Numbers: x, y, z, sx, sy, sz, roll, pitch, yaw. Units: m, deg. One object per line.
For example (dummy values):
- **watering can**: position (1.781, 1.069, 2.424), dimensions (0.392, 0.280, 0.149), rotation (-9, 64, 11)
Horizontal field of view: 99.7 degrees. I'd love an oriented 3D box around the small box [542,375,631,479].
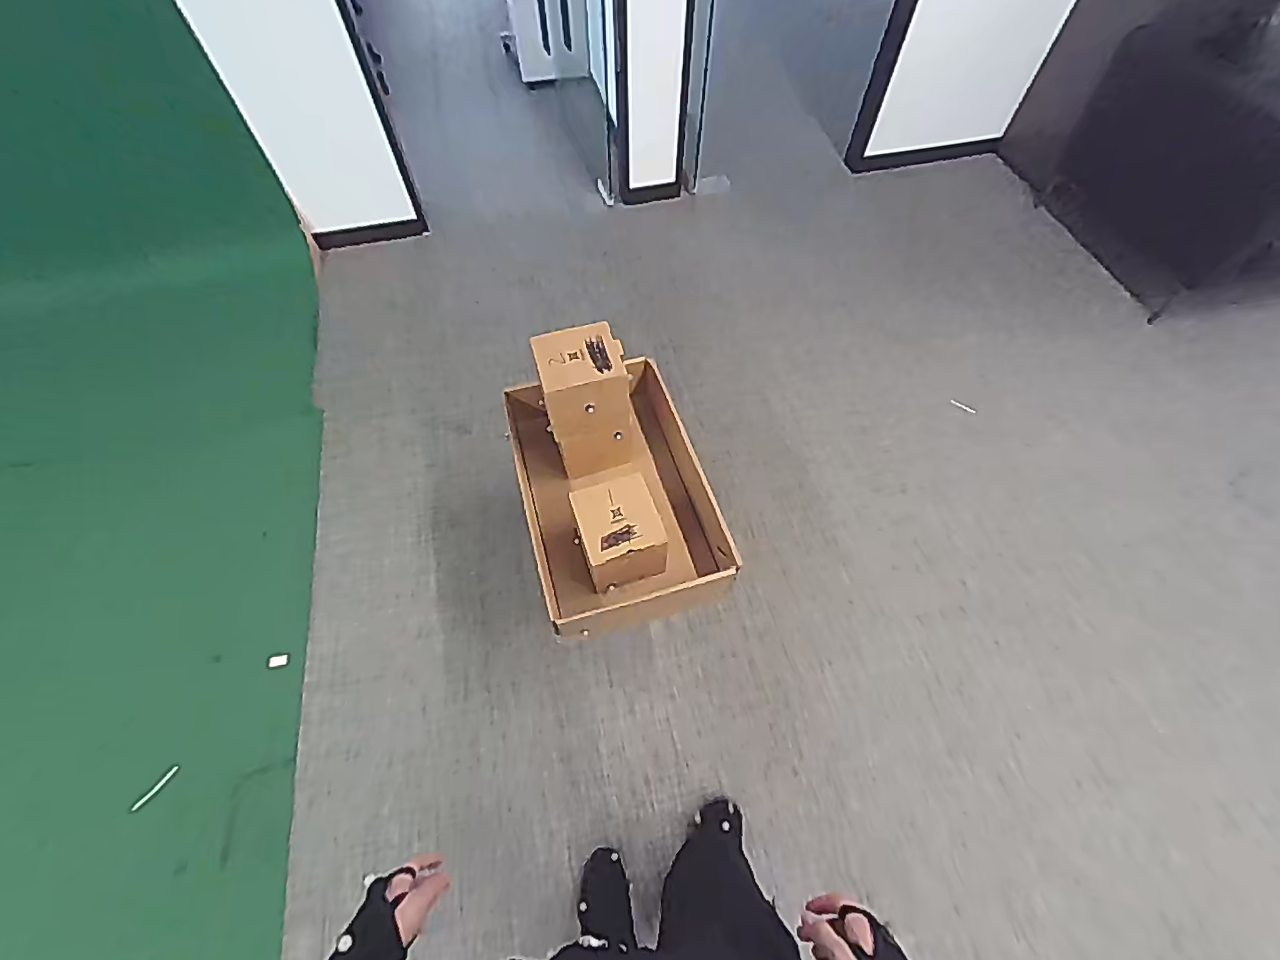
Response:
- **small box**: position (-0.126, -0.125, 1.327), dimensions (0.179, 0.176, 0.168), rotation (-17, 60, -11)
